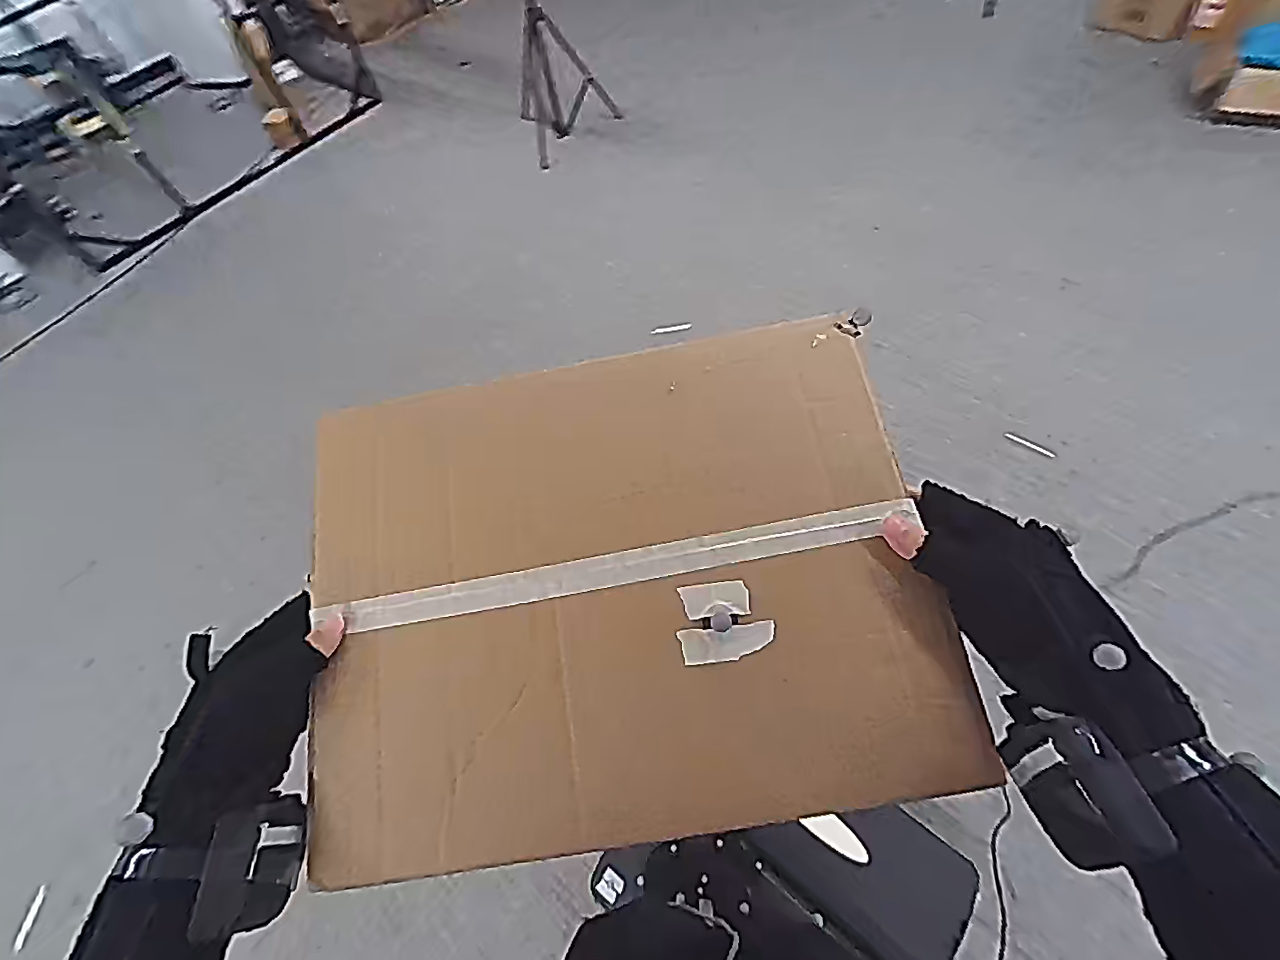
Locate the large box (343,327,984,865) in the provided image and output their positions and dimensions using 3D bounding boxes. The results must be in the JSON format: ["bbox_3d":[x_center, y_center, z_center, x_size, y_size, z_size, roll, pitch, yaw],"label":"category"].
[{"bbox_3d":[0.001,0.106,0.514,0.408,0.320,0.320,-10,72,3],"label":"large box"}]

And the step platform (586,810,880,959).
[{"bbox_3d":[0.209,0.962,1.156,0.684,0.204,0.286,31,68,26],"label":"step platform"}]
